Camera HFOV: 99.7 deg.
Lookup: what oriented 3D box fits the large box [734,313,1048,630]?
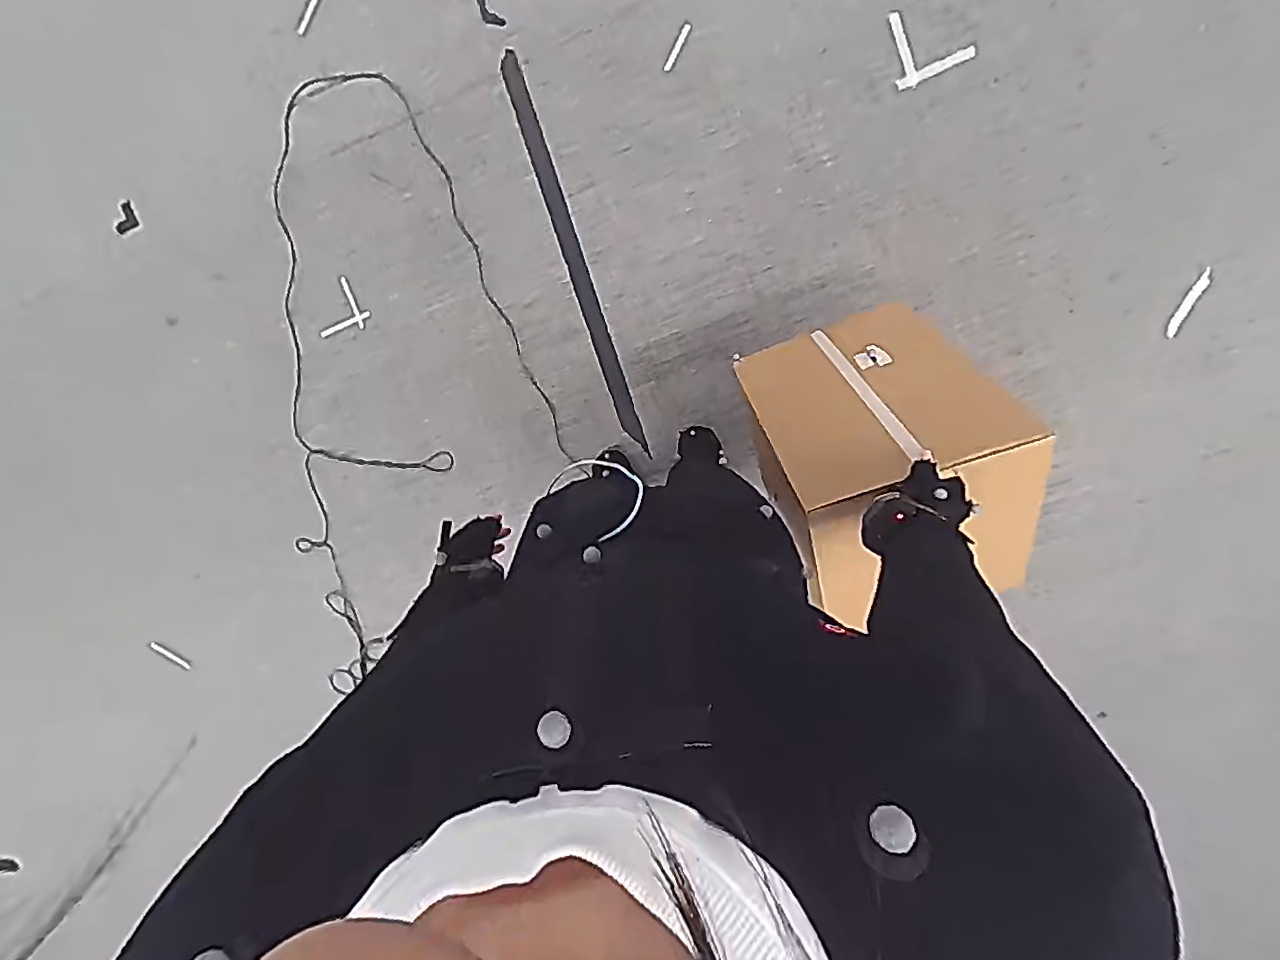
[{"bbox_3d":[0.391,-0.024,0.931,0.320,0.408,0.320,-18,129,6],"label":"large box"}]
